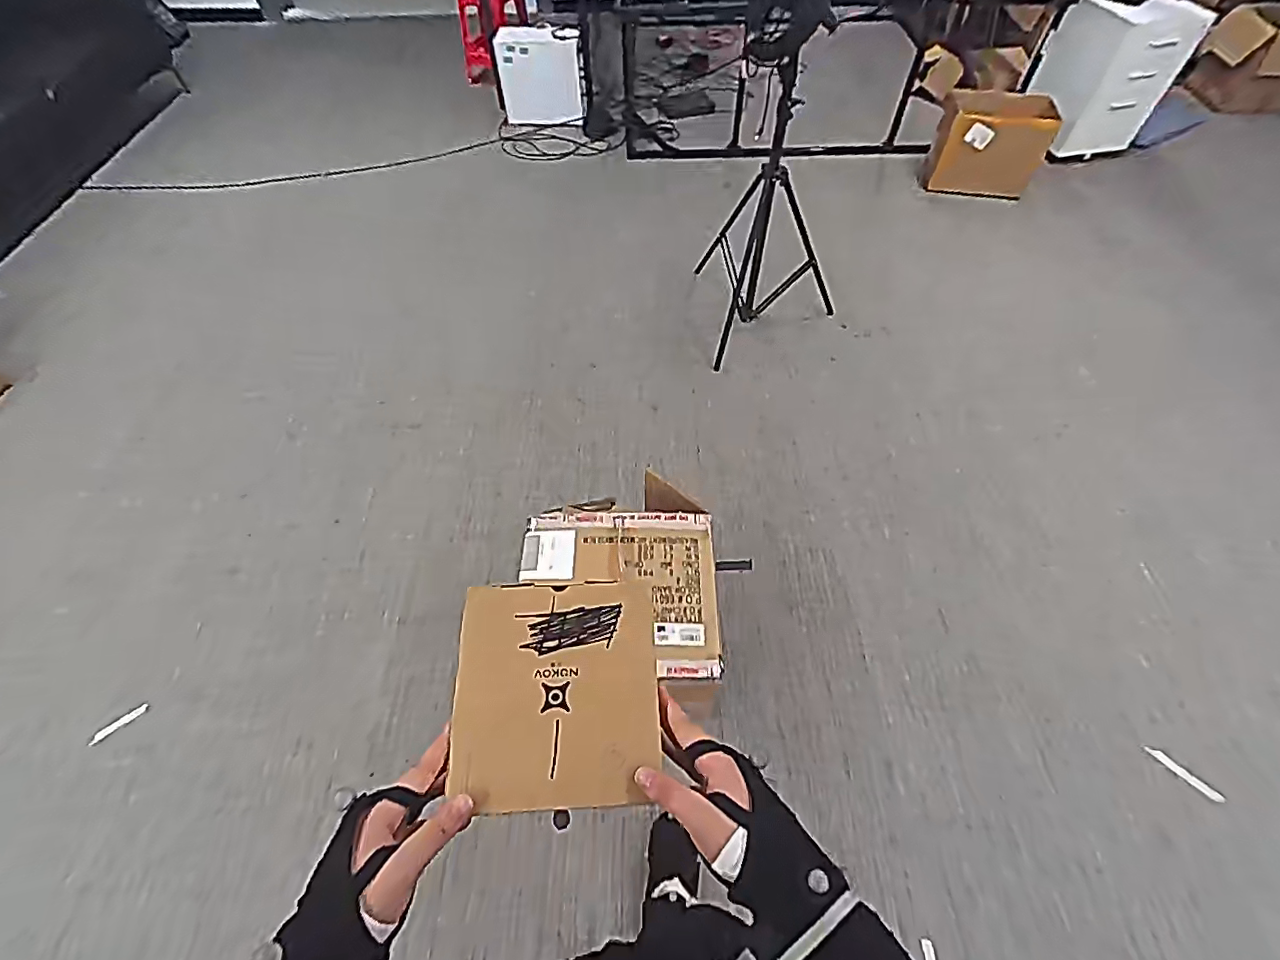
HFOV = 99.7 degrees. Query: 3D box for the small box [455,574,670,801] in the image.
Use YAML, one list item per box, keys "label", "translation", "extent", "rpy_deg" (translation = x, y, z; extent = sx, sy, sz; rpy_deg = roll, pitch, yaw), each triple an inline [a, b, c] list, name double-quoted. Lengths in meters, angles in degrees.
- label: "small box"
  translation: [-0.065, 0.203, 0.519]
  extent: [0.168, 0.176, 0.179]
  rpy_deg: [-3, 61, -3]
